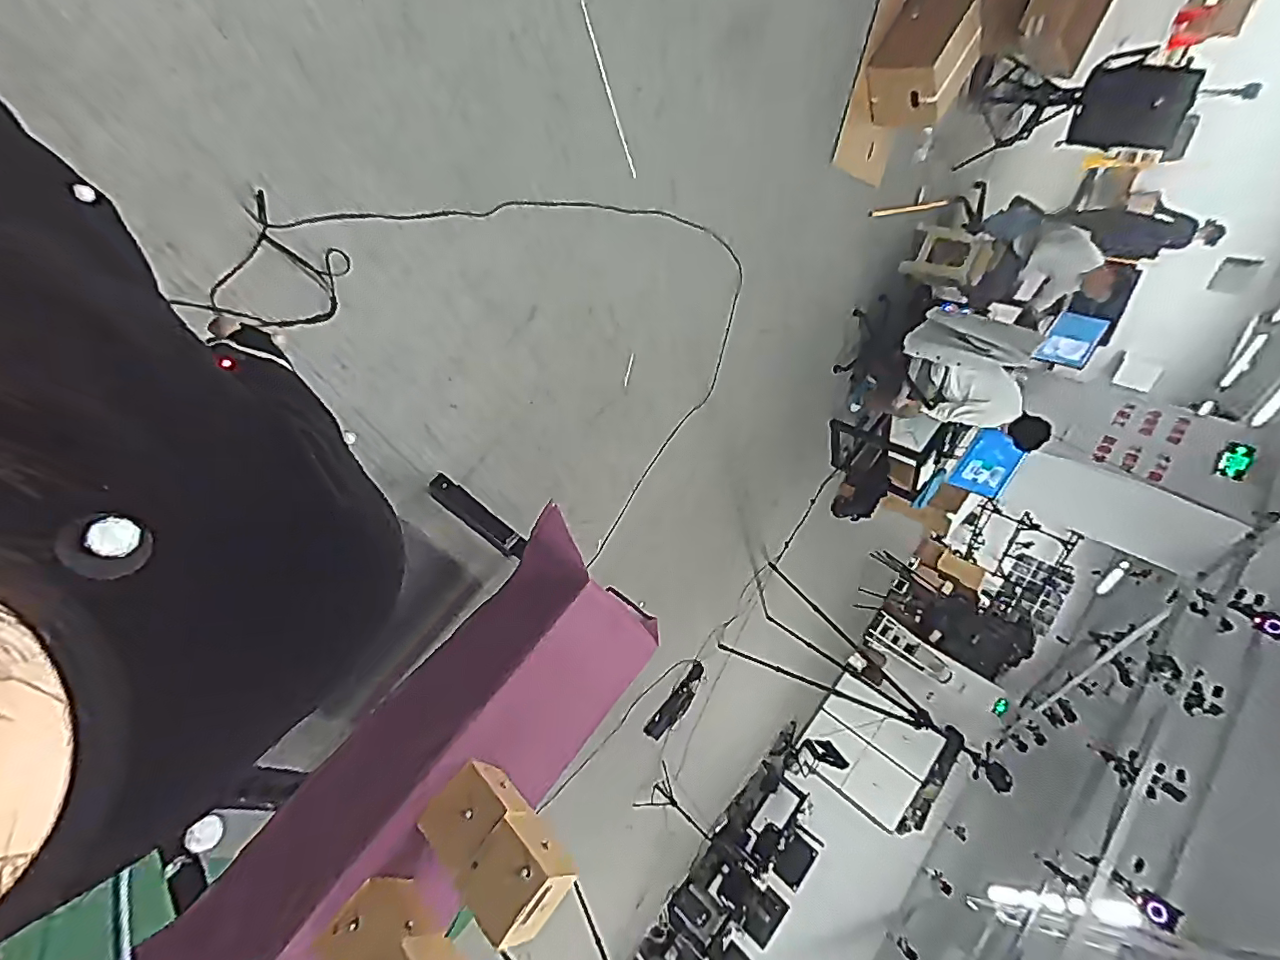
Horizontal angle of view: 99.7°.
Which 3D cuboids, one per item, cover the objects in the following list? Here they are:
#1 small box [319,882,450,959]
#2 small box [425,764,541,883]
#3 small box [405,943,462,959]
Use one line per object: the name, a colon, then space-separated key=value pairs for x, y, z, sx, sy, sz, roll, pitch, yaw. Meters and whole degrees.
small box: x=-0.575 y=1.052 z=1.222 sx=0.168 sy=0.176 sz=0.179 roll=-47 pitch=143 yaw=-19
small box: x=-0.379 y=0.824 z=1.304 sx=0.179 sy=0.176 sz=0.168 roll=-48 pitch=144 yaw=-18
small box: x=-0.457 y=1.119 z=1.127 sx=0.168 sy=0.176 sz=0.179 roll=-48 pitch=143 yaw=-17
